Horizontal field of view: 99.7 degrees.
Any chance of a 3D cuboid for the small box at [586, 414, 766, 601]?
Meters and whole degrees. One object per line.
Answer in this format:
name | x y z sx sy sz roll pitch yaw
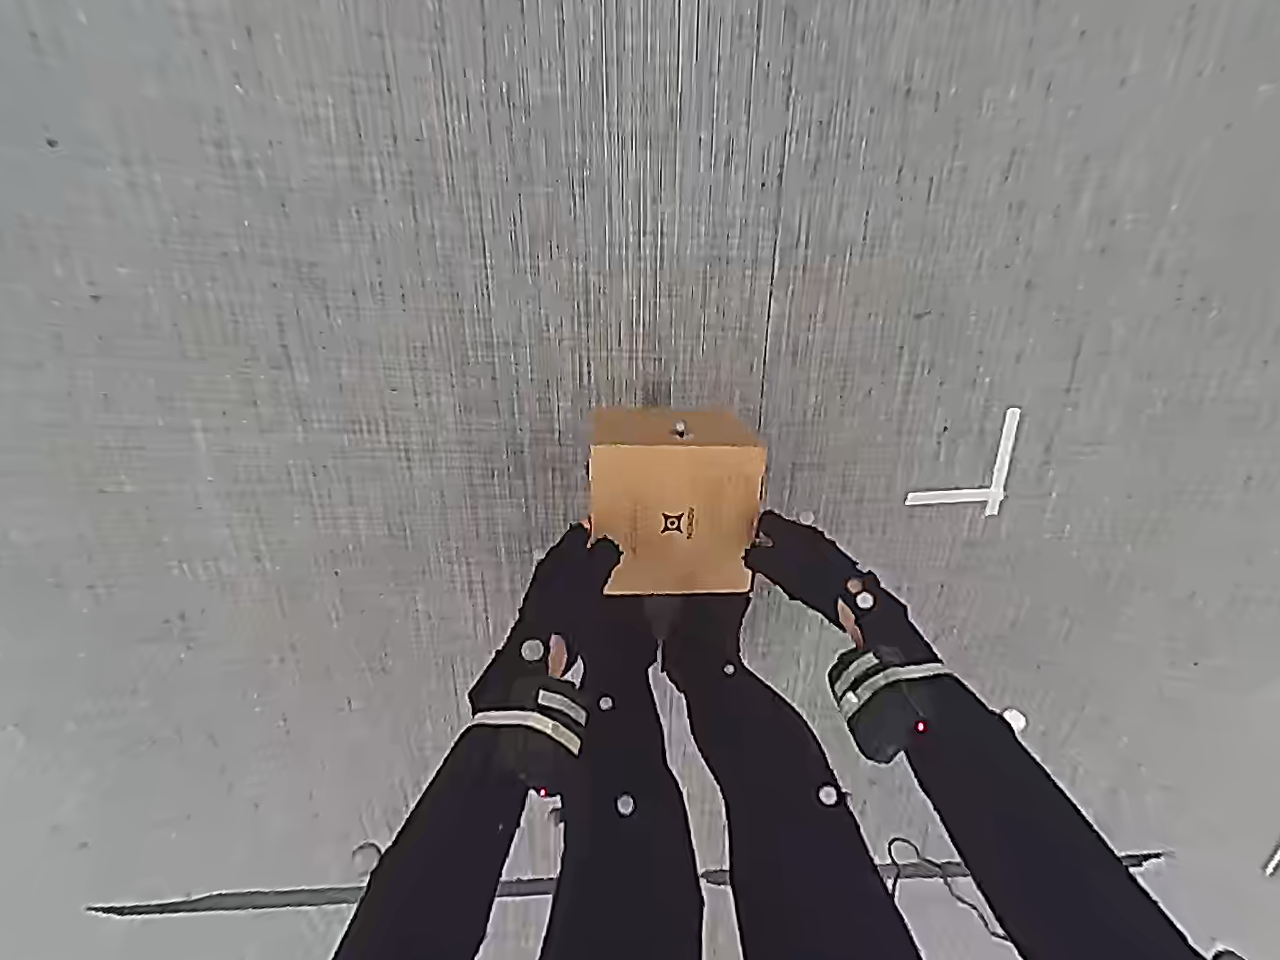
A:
small box | 0.027 0.022 0.621 0.179 0.176 0.168 0 110 -5
